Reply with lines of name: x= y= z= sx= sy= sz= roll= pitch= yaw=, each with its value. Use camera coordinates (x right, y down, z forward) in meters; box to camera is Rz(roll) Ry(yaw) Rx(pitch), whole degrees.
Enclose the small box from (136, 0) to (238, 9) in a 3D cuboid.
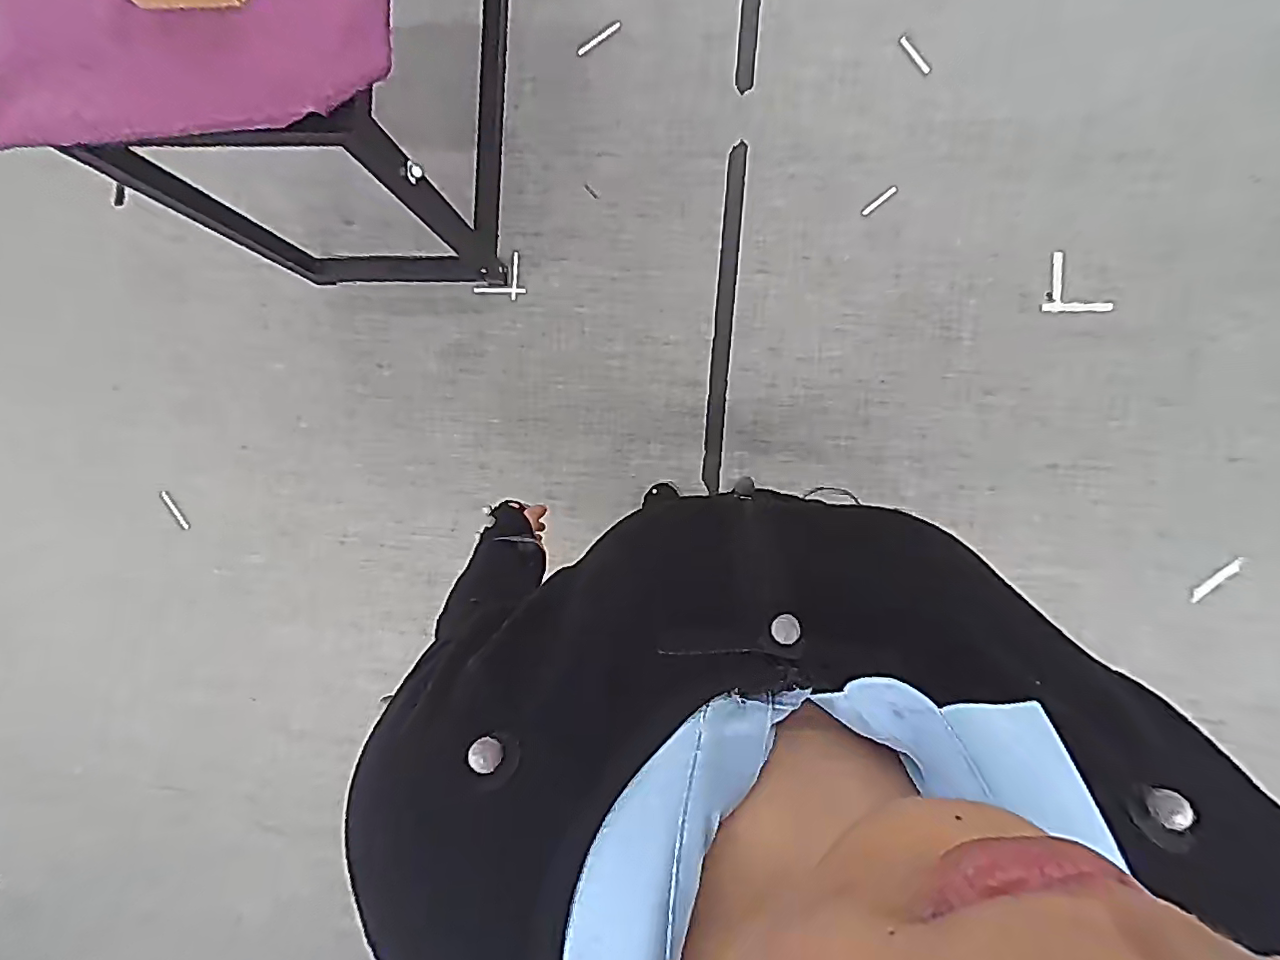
small box: x=-0.697 y=-0.811 z=0.759 sx=0.179 sy=0.176 sz=0.168 roll=1 pitch=90 yaw=4
